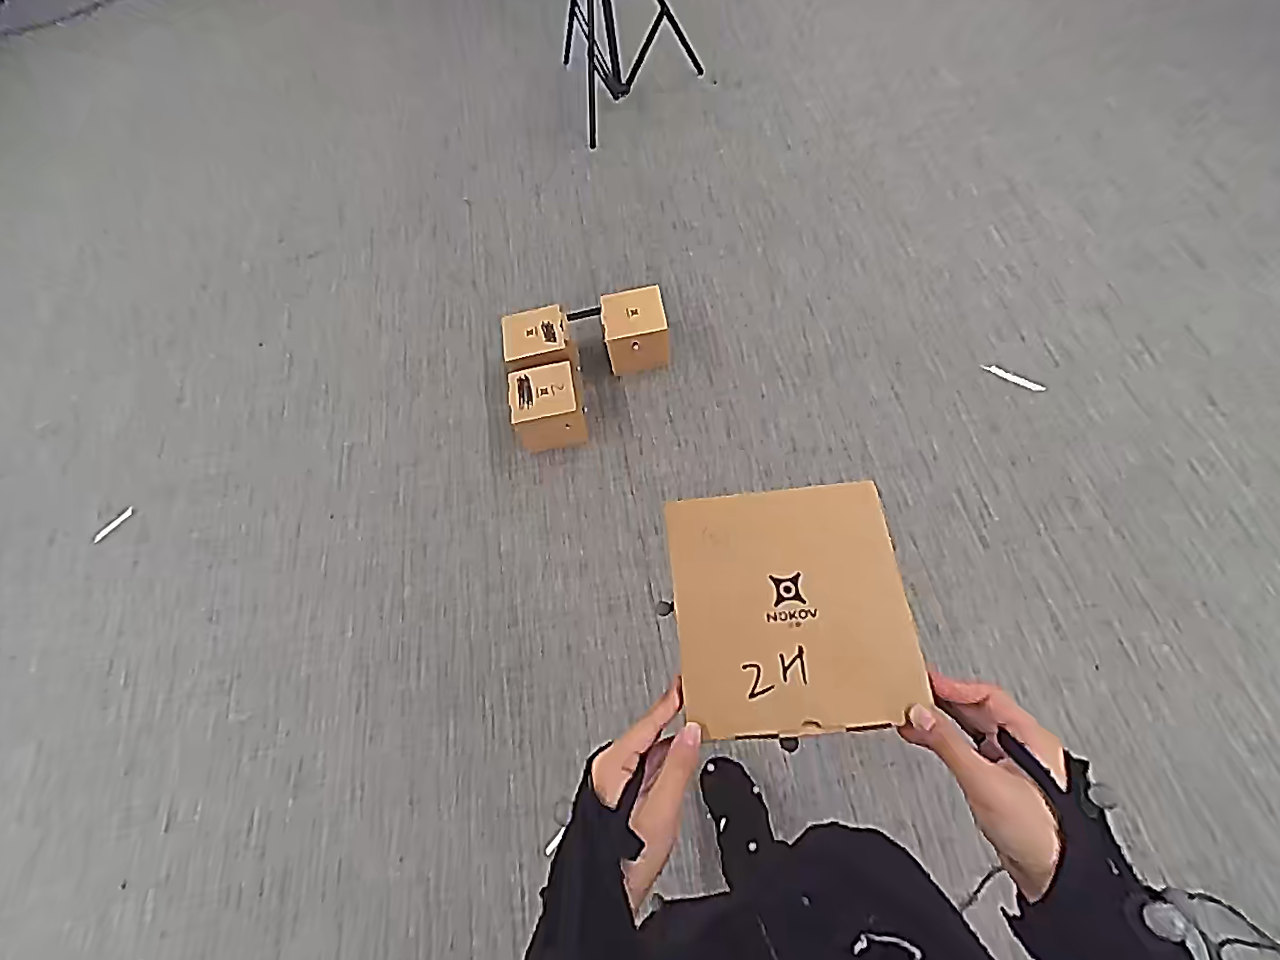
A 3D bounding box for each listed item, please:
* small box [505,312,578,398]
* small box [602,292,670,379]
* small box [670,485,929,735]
[{"bbox_3d":[-0.286,-0.366,1.602,0.179,0.176,0.168,-12,65,3],"label":"small box"},{"bbox_3d":[-0.007,-0.421,1.593,0.179,0.176,0.168,-11,64,3],"label":"small box"},{"bbox_3d":[0.115,0.121,0.472,0.168,0.176,0.179,-6,67,4],"label":"small box"}]
